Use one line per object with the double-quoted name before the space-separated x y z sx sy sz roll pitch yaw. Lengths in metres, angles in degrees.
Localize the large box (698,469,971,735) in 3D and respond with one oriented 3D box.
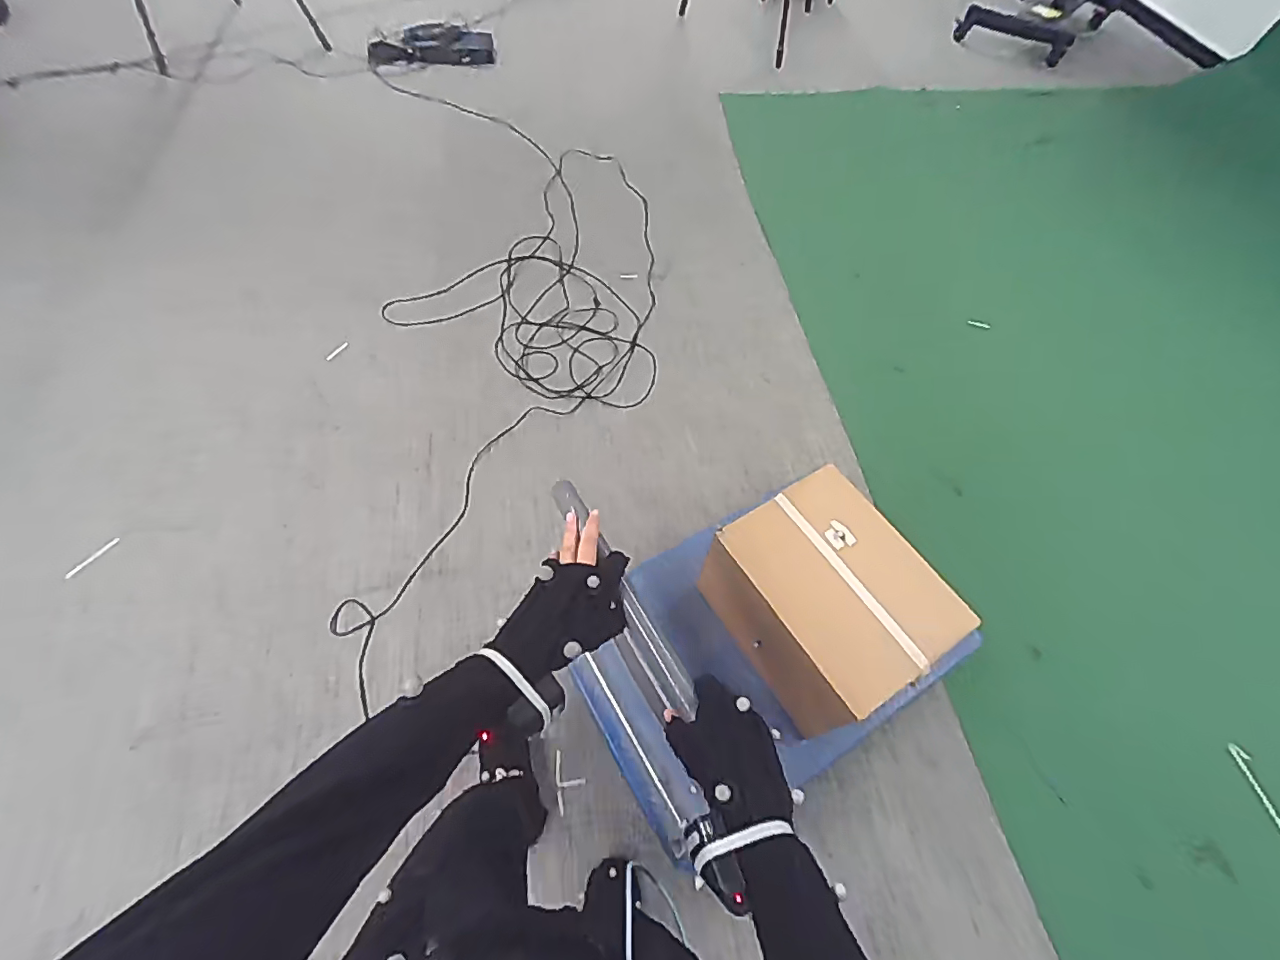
"large box" 0.374 0.263 1.156 0.320 0.320 0.408 -28 64 -18
